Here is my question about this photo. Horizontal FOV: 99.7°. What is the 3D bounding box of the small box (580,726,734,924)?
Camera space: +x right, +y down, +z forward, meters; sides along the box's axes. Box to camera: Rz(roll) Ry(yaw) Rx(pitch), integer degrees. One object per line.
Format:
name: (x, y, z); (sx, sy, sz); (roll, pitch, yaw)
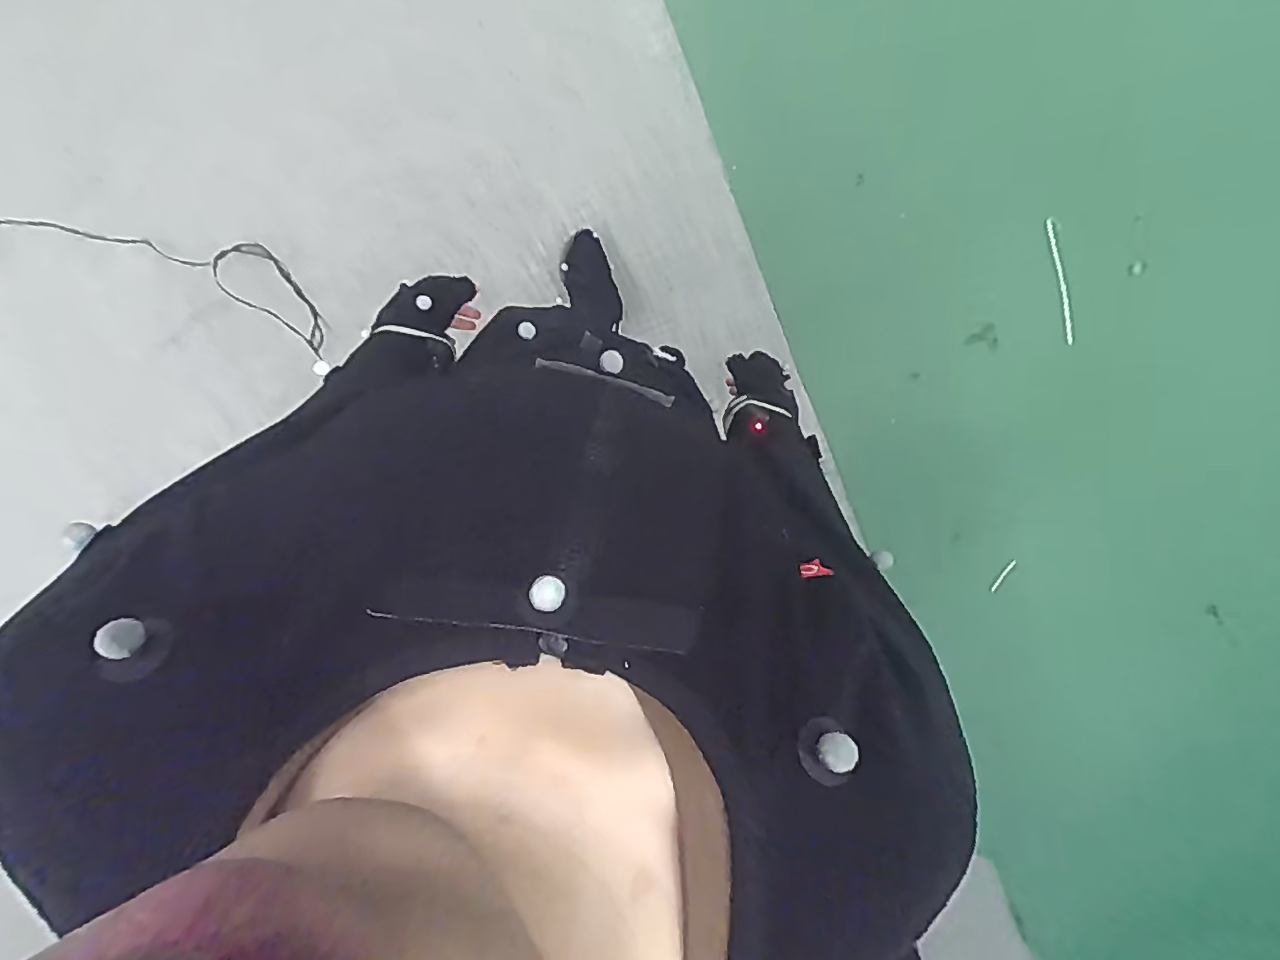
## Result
small box: (0.027, 0.525, 0.837); (0.168, 0.176, 0.179); (-27, 107, 9)
